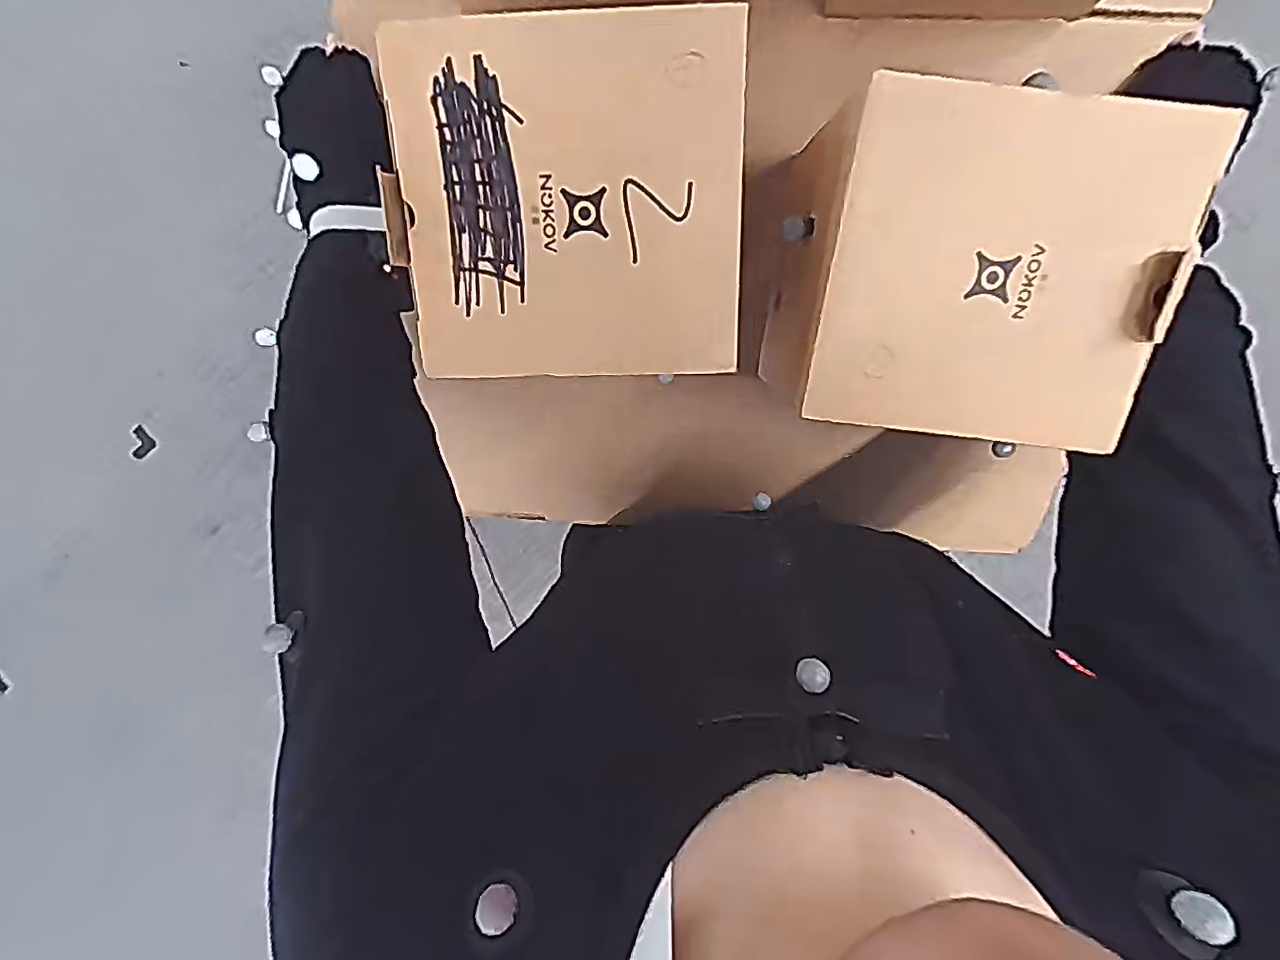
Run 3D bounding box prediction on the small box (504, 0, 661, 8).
[{"bbox_3d":[-0.059,-0.396,0.287,0.168,0.176,0.179,2,104,2],"label":"small box"}]
